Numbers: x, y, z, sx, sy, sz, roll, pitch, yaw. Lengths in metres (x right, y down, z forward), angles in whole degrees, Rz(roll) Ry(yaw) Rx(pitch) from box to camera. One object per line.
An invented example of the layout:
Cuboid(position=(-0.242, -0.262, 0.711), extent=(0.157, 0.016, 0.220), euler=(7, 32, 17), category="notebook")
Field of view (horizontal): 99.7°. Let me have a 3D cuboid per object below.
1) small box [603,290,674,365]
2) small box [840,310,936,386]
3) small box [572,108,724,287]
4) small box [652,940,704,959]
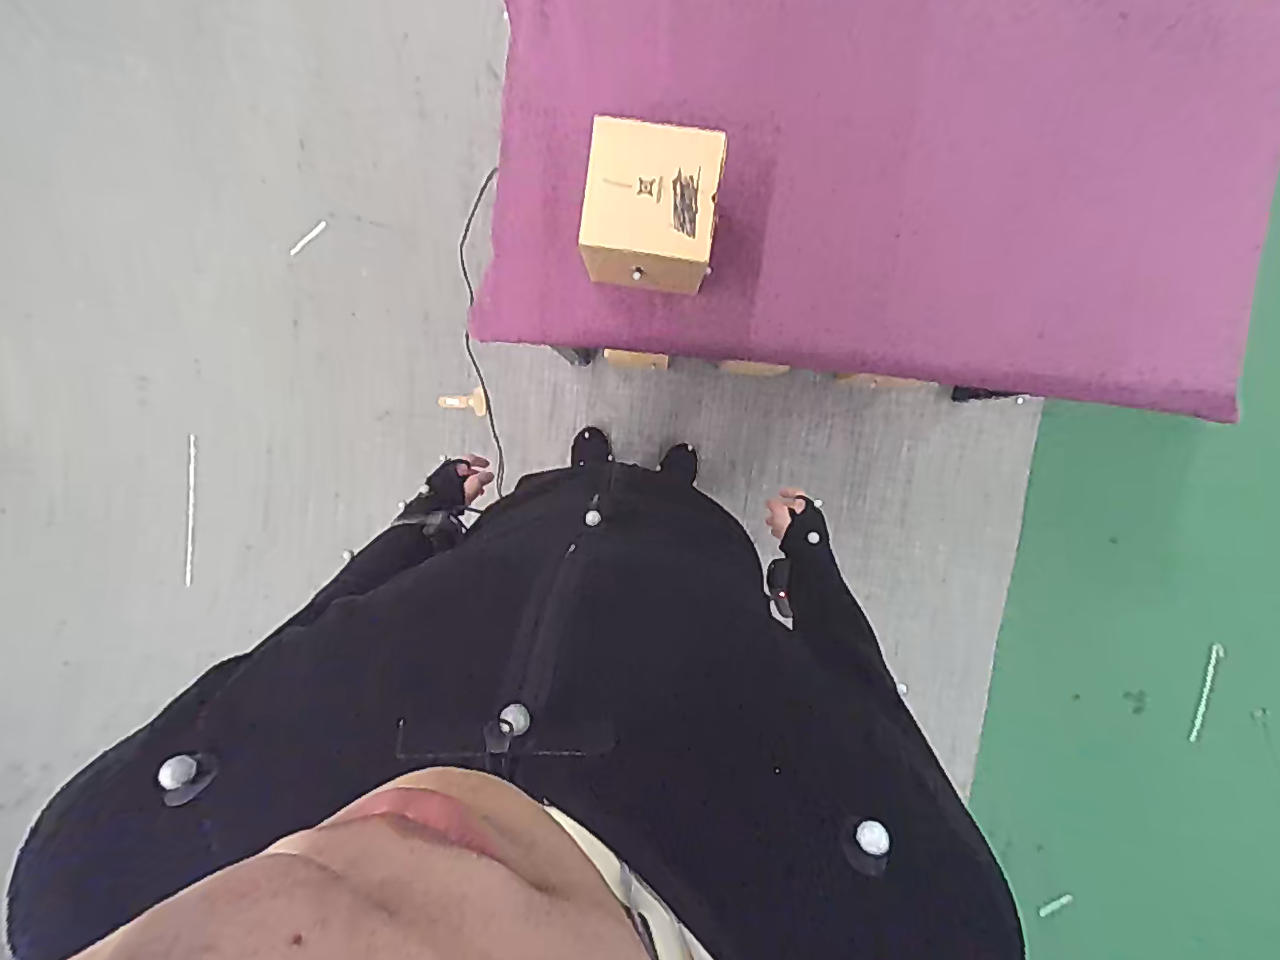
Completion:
Cuboid(position=(-0.002, -0.417, 1.504), extent=(0.179, 0.176, 0.168), euler=(6, 96, 1), category="small box")
Cuboid(position=(0.673, -0.357, 1.490), extent=(0.179, 0.176, 0.168), euler=(9, 96, 1), category="small box")
Cuboid(position=(0.012, -0.387, 0.772), extent=(0.179, 0.176, 0.168), euler=(9, 94, 1), category="small box")
Cuboid(position=(0.118, 1.610, 1.699), extent=(0.168, 0.176, 0.179), euler=(6, 95, 0), category="small box")
